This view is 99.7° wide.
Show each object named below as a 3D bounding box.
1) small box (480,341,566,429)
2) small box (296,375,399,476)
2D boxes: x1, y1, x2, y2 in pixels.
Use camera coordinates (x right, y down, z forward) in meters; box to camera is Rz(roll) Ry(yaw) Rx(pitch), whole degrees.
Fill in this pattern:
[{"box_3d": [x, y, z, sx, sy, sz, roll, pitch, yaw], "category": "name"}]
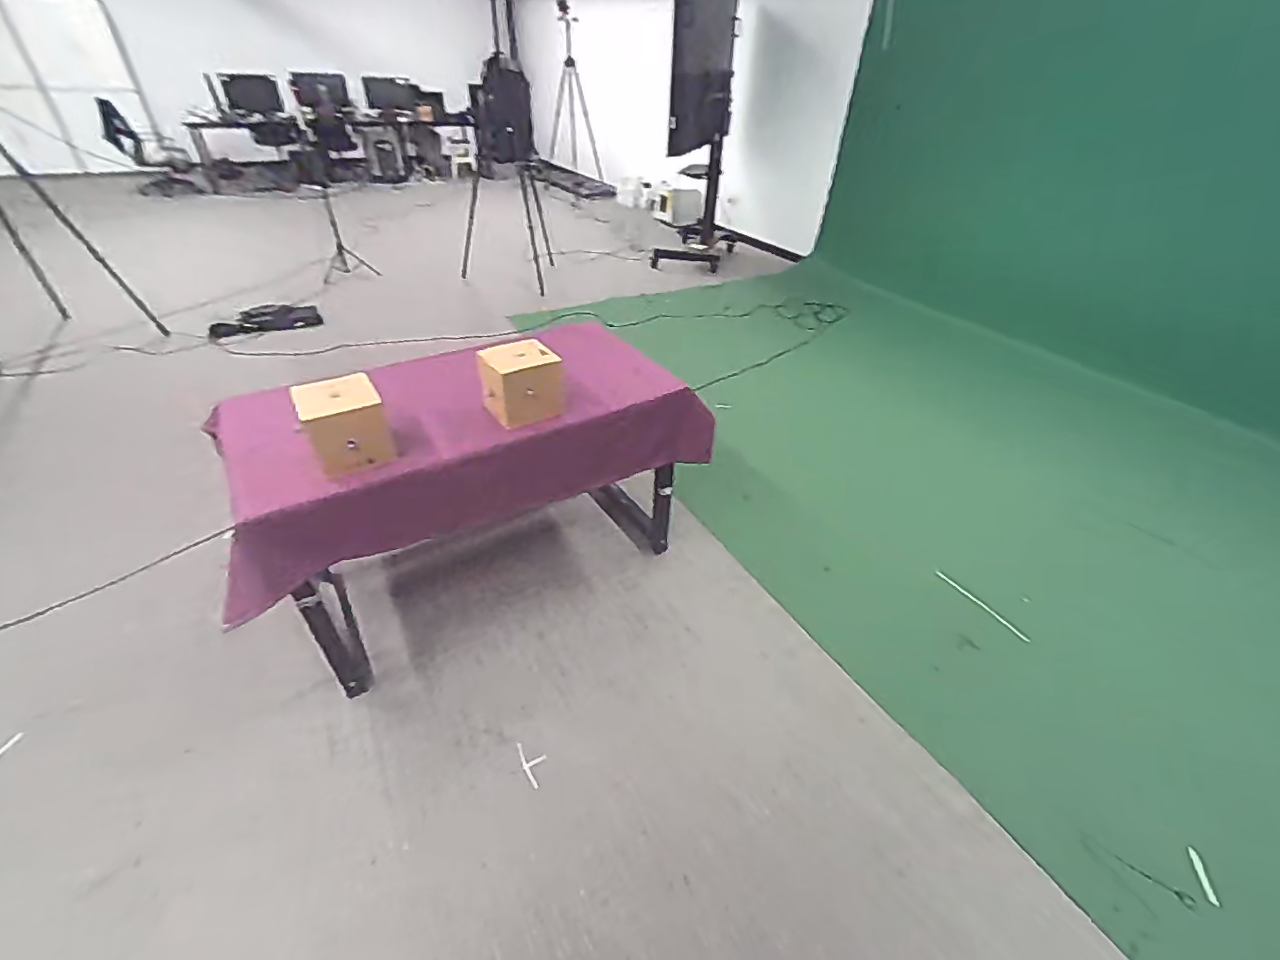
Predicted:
[{"box_3d": [-0.320, -0.261, 1.497, 0.179, 0.176, 0.168, -22, 44, -27], "category": "small box"}, {"box_3d": [-0.698, -0.126, 1.299, 0.168, 0.176, 0.179, -20, 43, -27], "category": "small box"}]
